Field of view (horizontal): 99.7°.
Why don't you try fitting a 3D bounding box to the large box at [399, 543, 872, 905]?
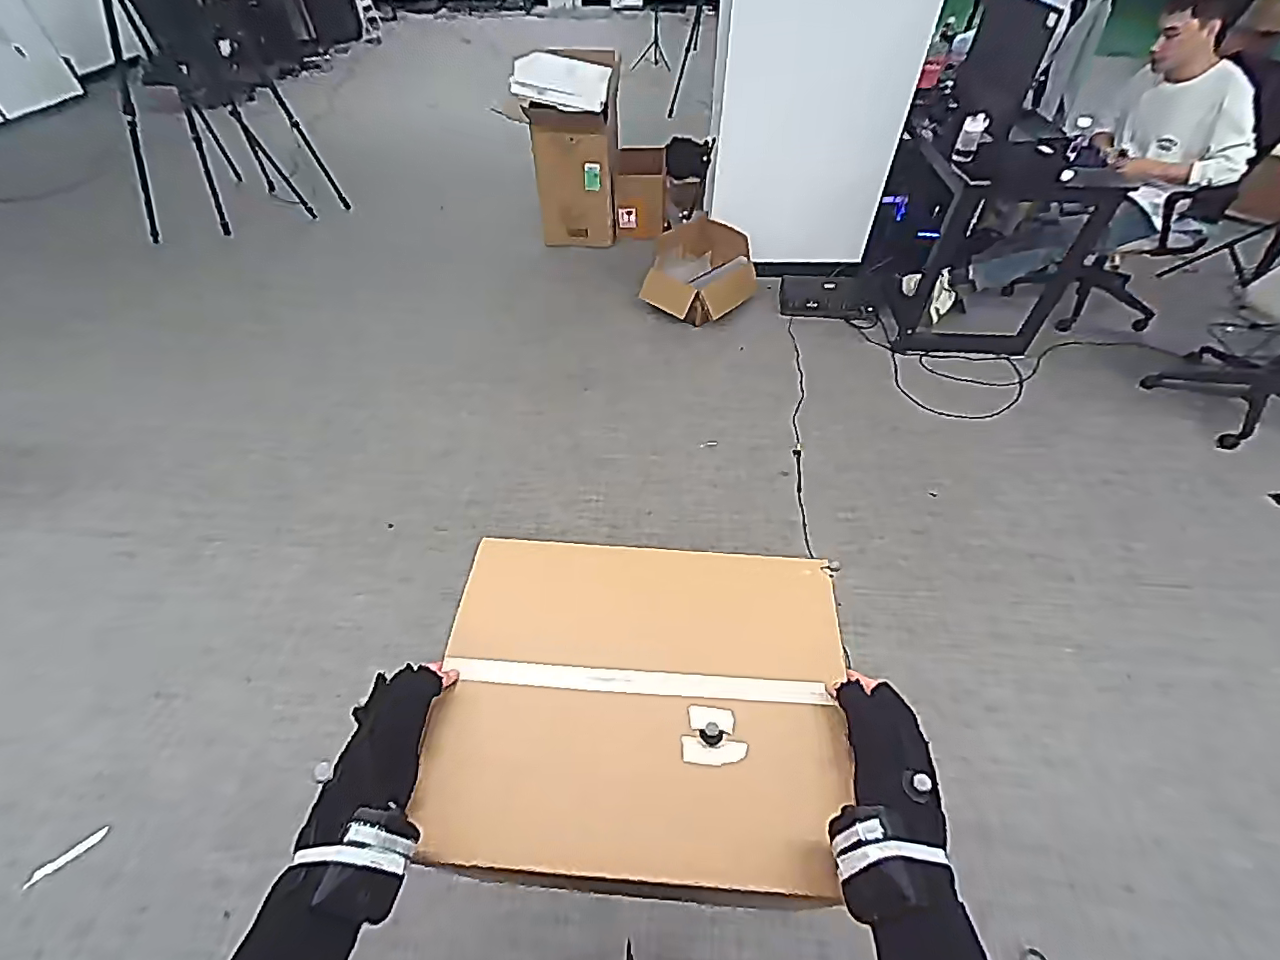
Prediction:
[{"bbox_3d":[0.000,0.298,0.653,0.408,0.320,0.320,4,51,2],"label":"large box"}]
